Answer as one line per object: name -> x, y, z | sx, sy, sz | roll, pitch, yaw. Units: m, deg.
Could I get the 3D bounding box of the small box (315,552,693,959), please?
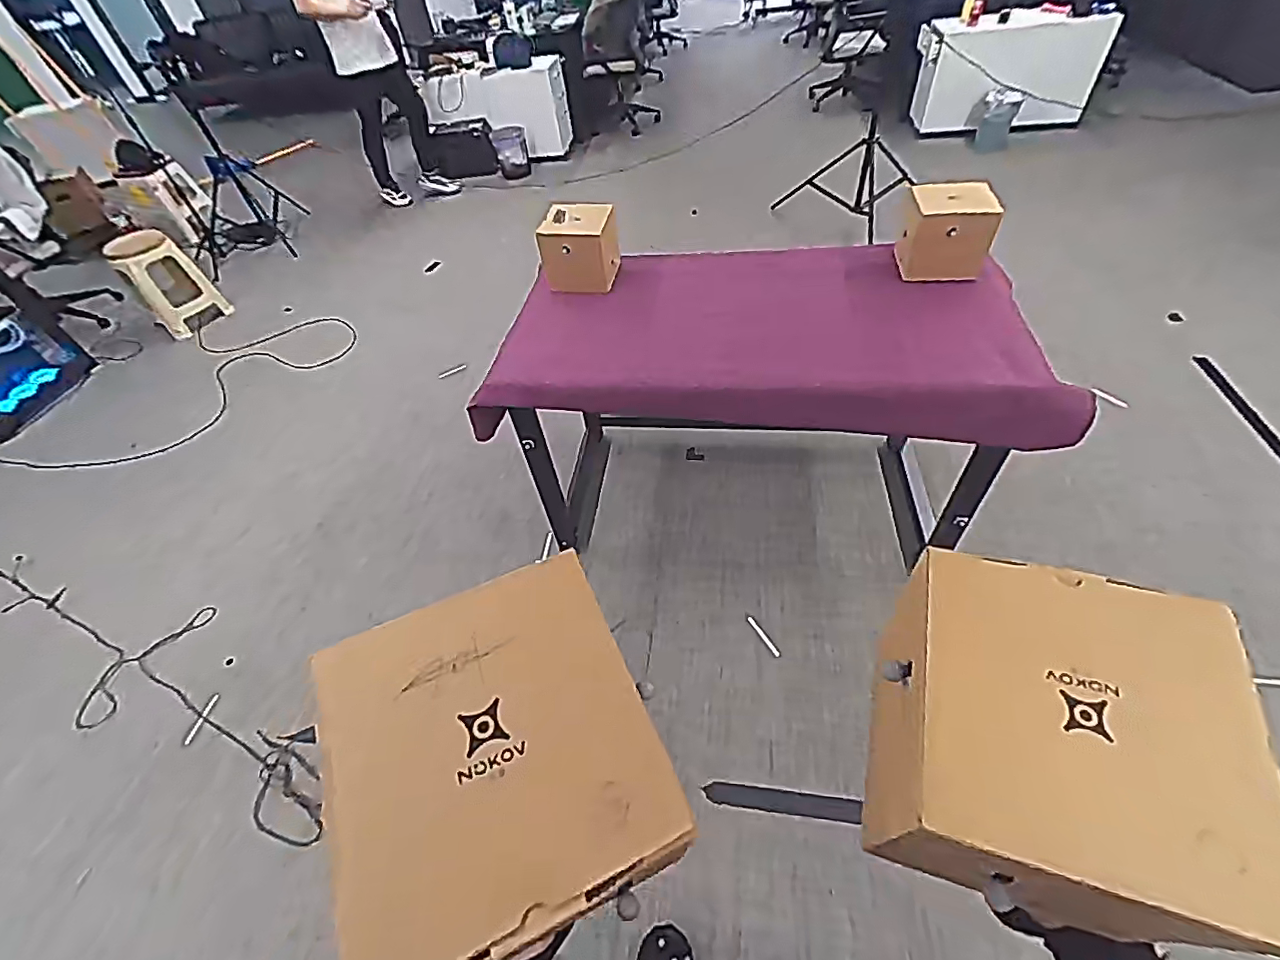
small box -> -0.079, 0.184, 0.351 | 0.168, 0.176, 0.179 | -21, 54, -15

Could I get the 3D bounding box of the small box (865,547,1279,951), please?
small box -> 0.256, 0.175, 0.365 | 0.168, 0.176, 0.179 | 10, 54, 17

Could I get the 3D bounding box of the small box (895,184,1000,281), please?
small box -> 0.749, -0.611, 1.342 | 0.179, 0.176, 0.168 | 3, 50, 9

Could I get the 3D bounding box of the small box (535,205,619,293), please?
small box -> -0.164, -0.629, 1.478 | 0.179, 0.176, 0.168 | 5, 52, 10
